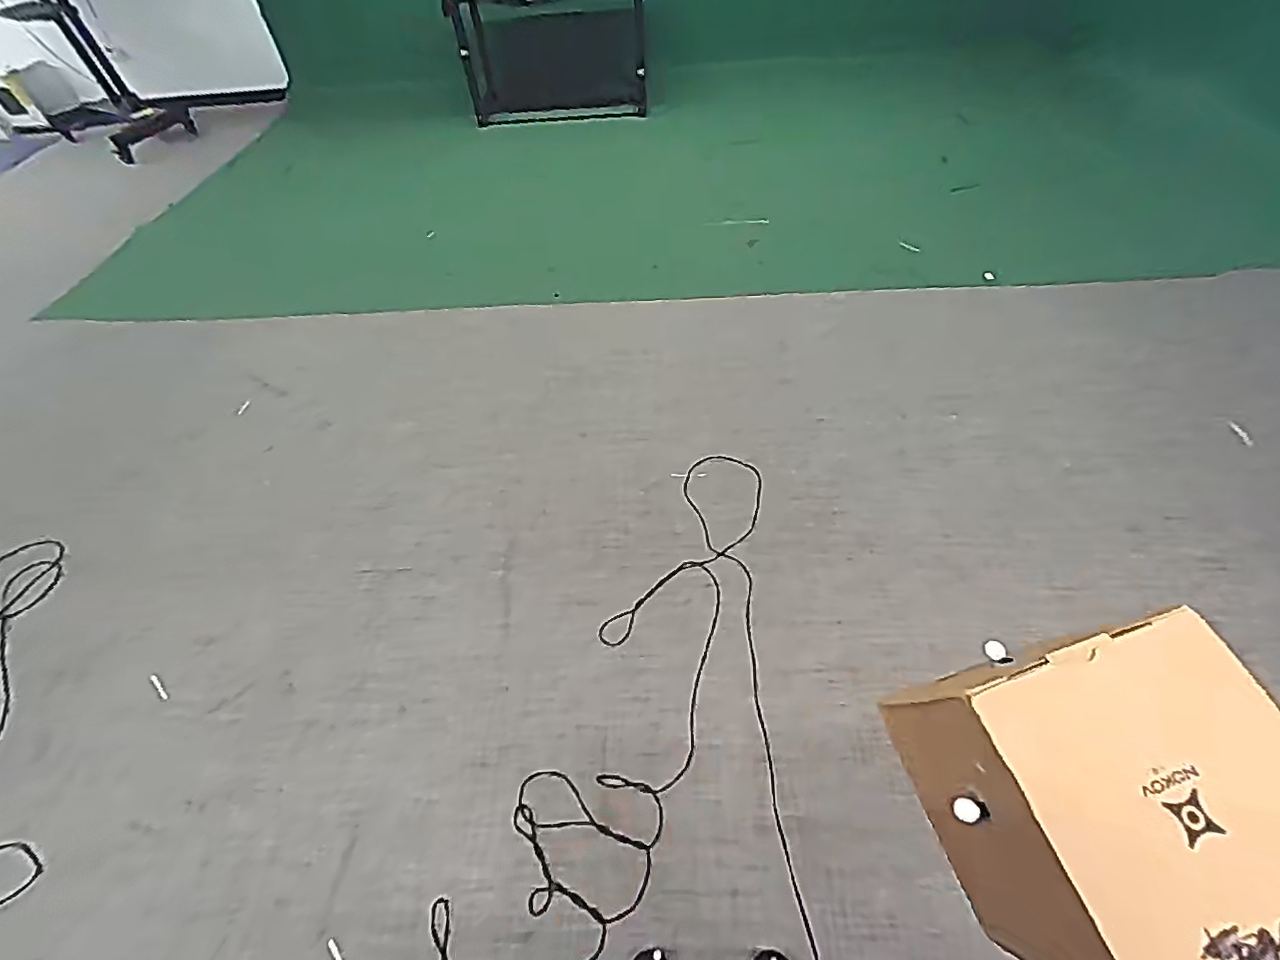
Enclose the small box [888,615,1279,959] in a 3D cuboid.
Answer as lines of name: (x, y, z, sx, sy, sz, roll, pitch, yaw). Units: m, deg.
small box: (0.312, 0.220, 0.384, 0.168, 0.176, 0.179, -18, 64, -5)
